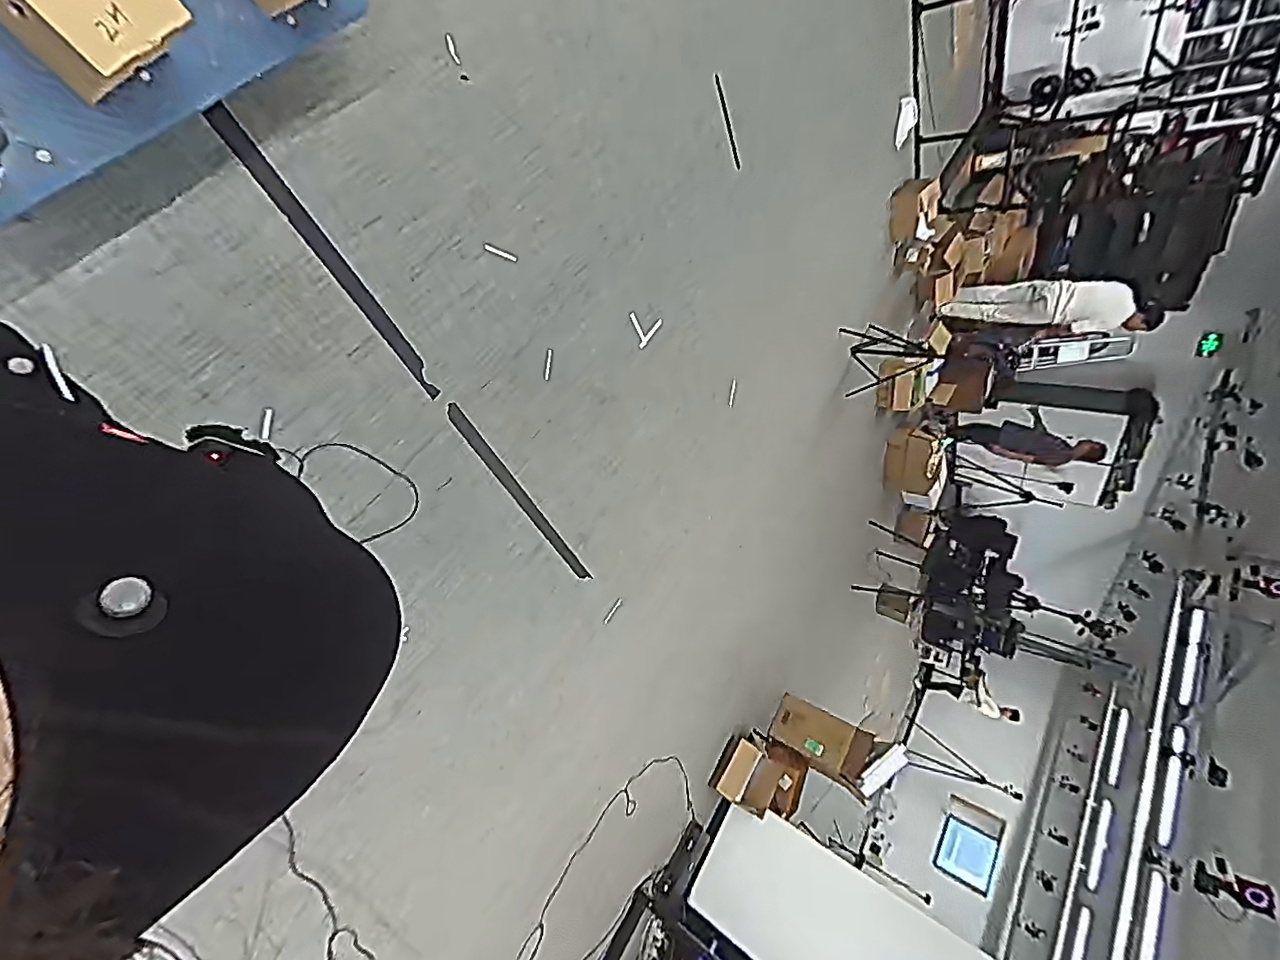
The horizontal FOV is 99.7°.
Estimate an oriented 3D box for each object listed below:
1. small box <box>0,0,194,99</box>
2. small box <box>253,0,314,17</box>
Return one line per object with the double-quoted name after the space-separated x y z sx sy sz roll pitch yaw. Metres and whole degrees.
-0.811 -0.696 0.780 0.168 0.176 0.179 -58 140 -20 "small box"
-0.614 -0.953 0.936 0.179 0.176 0.168 -54 138 -23 "small box"
